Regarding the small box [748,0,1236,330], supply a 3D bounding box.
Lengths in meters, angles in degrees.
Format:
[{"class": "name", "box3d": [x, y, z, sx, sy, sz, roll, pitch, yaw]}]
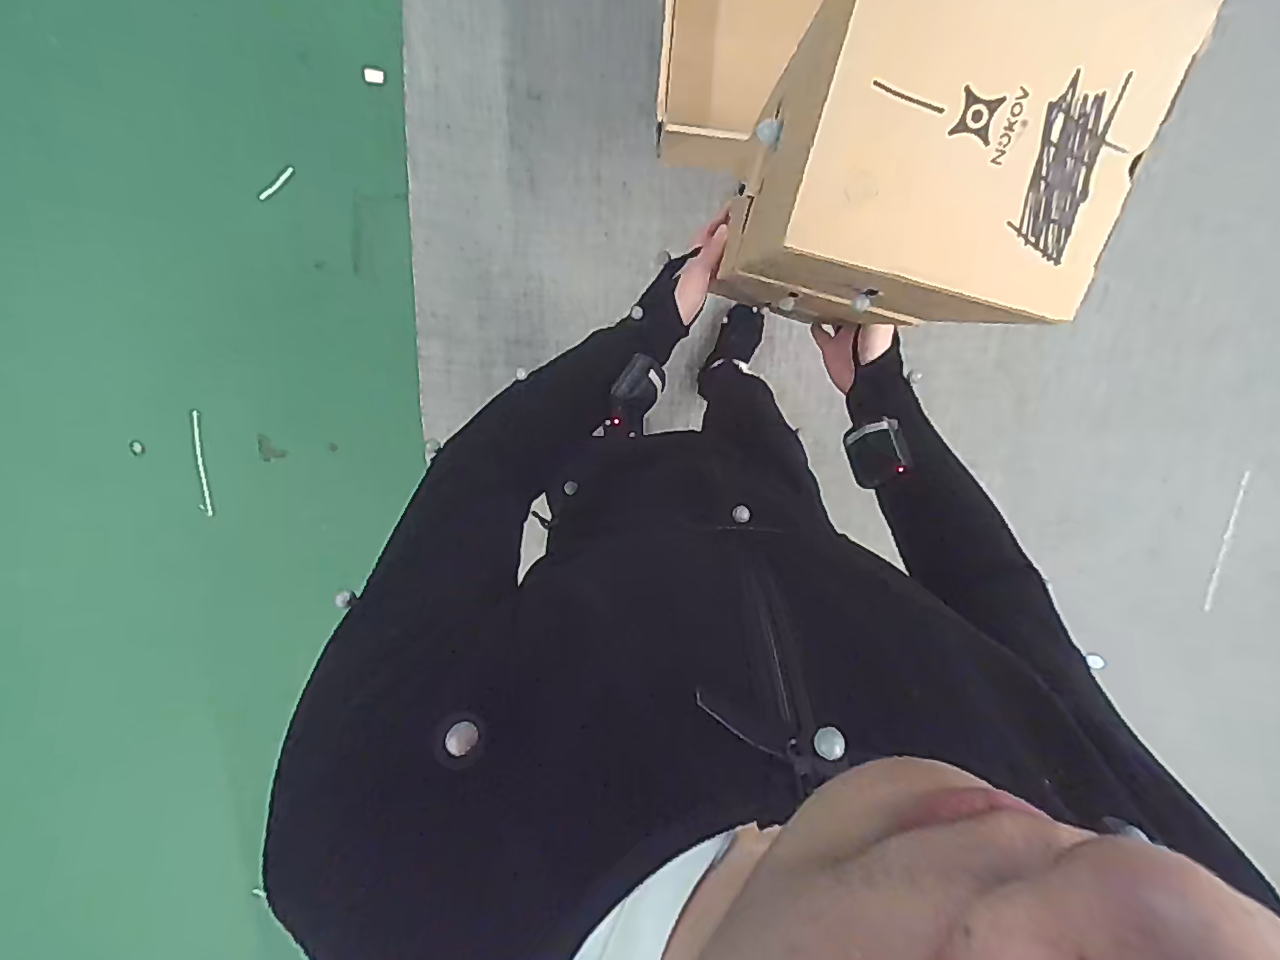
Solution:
[{"class": "small box", "box3d": [0.189, -0.206, 0.357, 0.179, 0.176, 0.168, 14, 107, -3]}]

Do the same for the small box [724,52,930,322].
[{"class": "small box", "box3d": [0.189, -0.253, 0.514, 0.179, 0.176, 0.168, 15, 107, -3]}]

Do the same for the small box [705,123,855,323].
[{"class": "small box", "box3d": [0.190, -0.300, 0.671, 0.179, 0.176, 0.168, 17, 106, -5]}]
